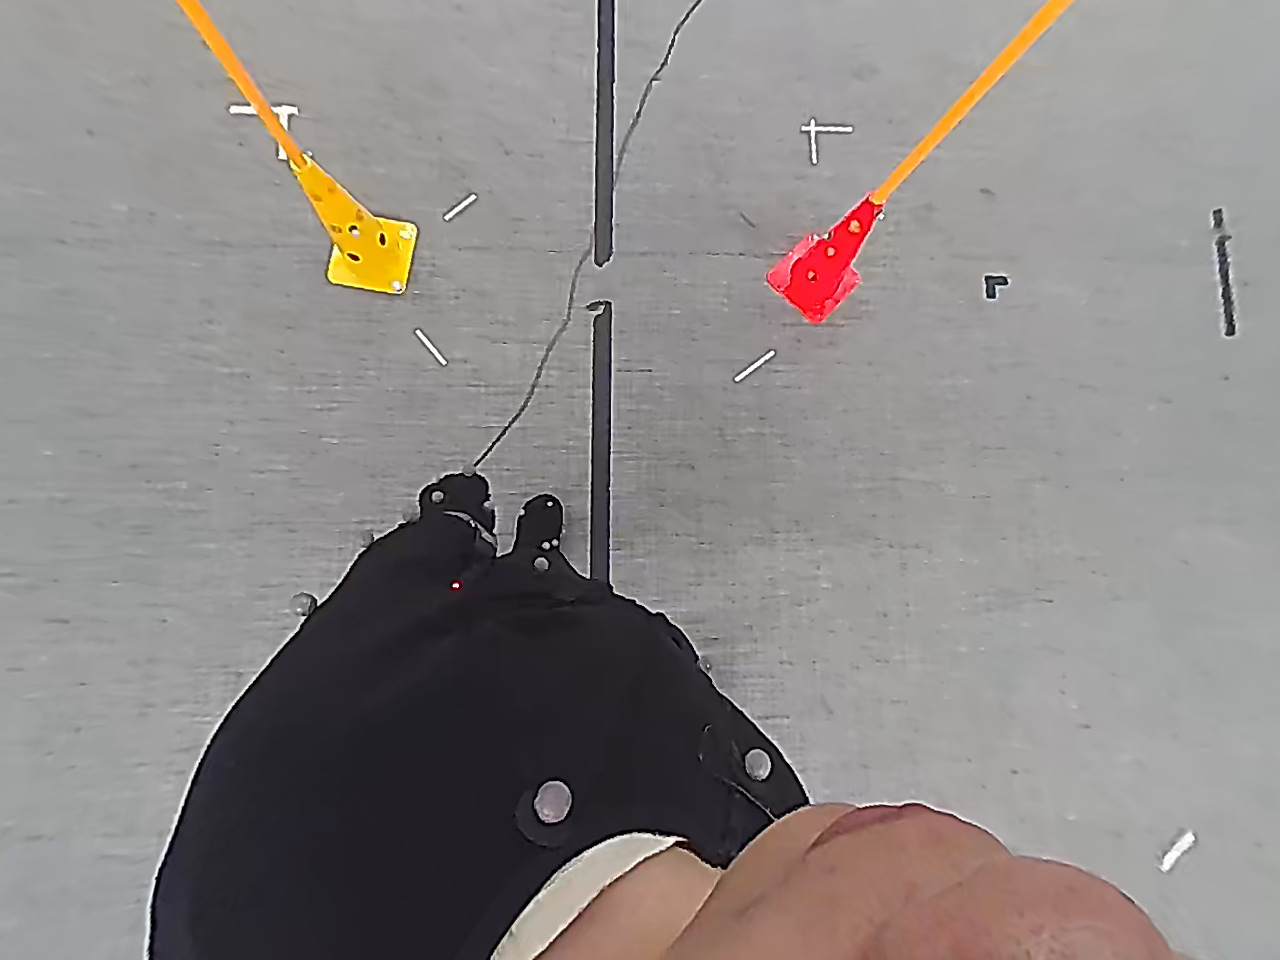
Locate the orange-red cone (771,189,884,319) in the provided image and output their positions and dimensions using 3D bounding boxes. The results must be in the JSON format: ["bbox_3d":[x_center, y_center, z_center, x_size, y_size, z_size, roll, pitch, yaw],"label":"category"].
[{"bbox_3d":[0.496,-0.582,1.328,0.198,0.360,0.199,45,83,3],"label":"orange-red cone"}]
